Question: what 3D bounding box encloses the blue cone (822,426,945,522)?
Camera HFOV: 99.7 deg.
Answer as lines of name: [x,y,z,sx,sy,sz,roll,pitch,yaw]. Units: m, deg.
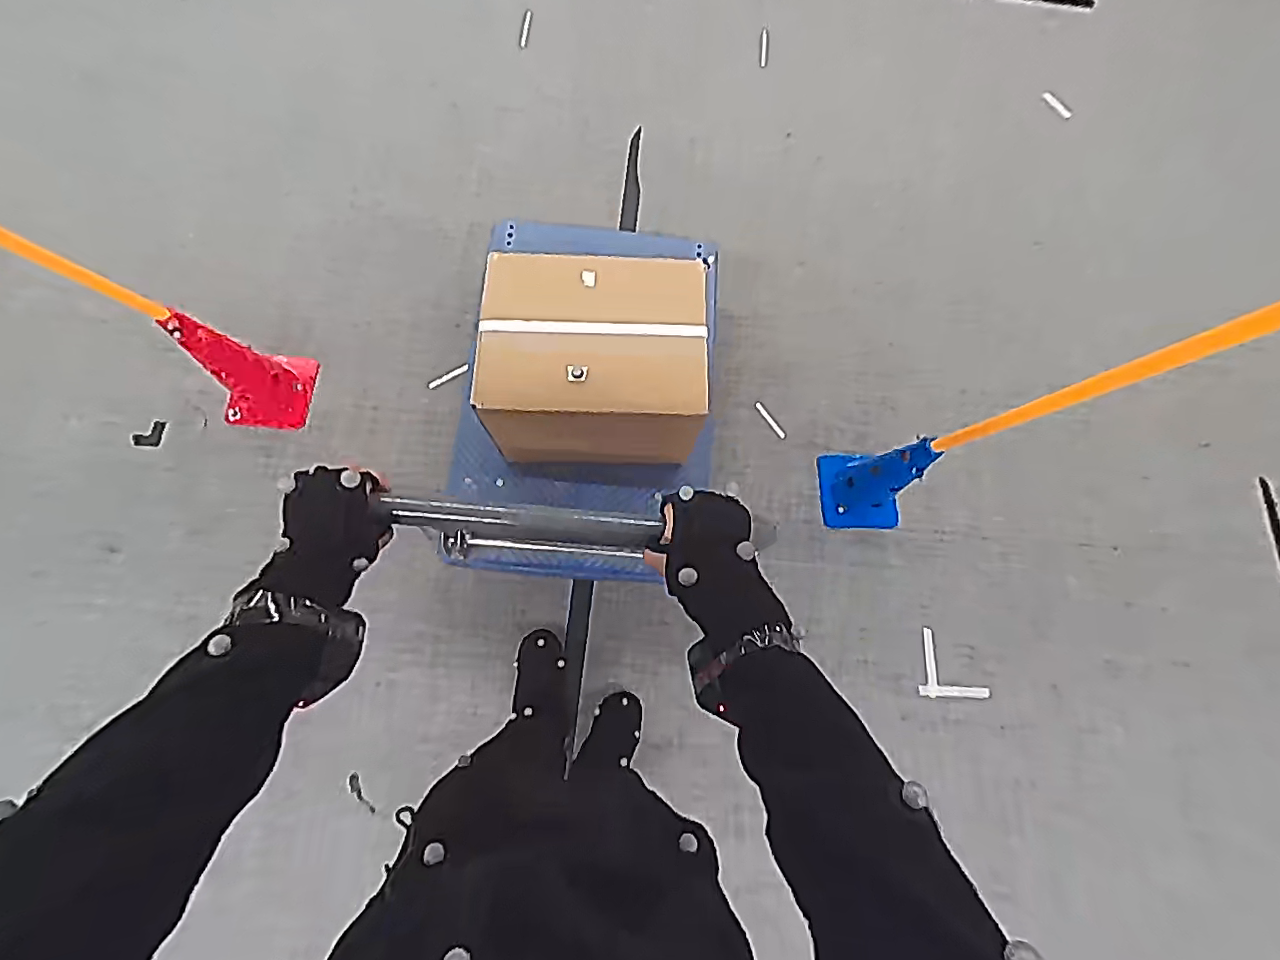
blue cone: [0.586,-0.029,1.256,0.193,0.380,0.192,2,73,-3]
